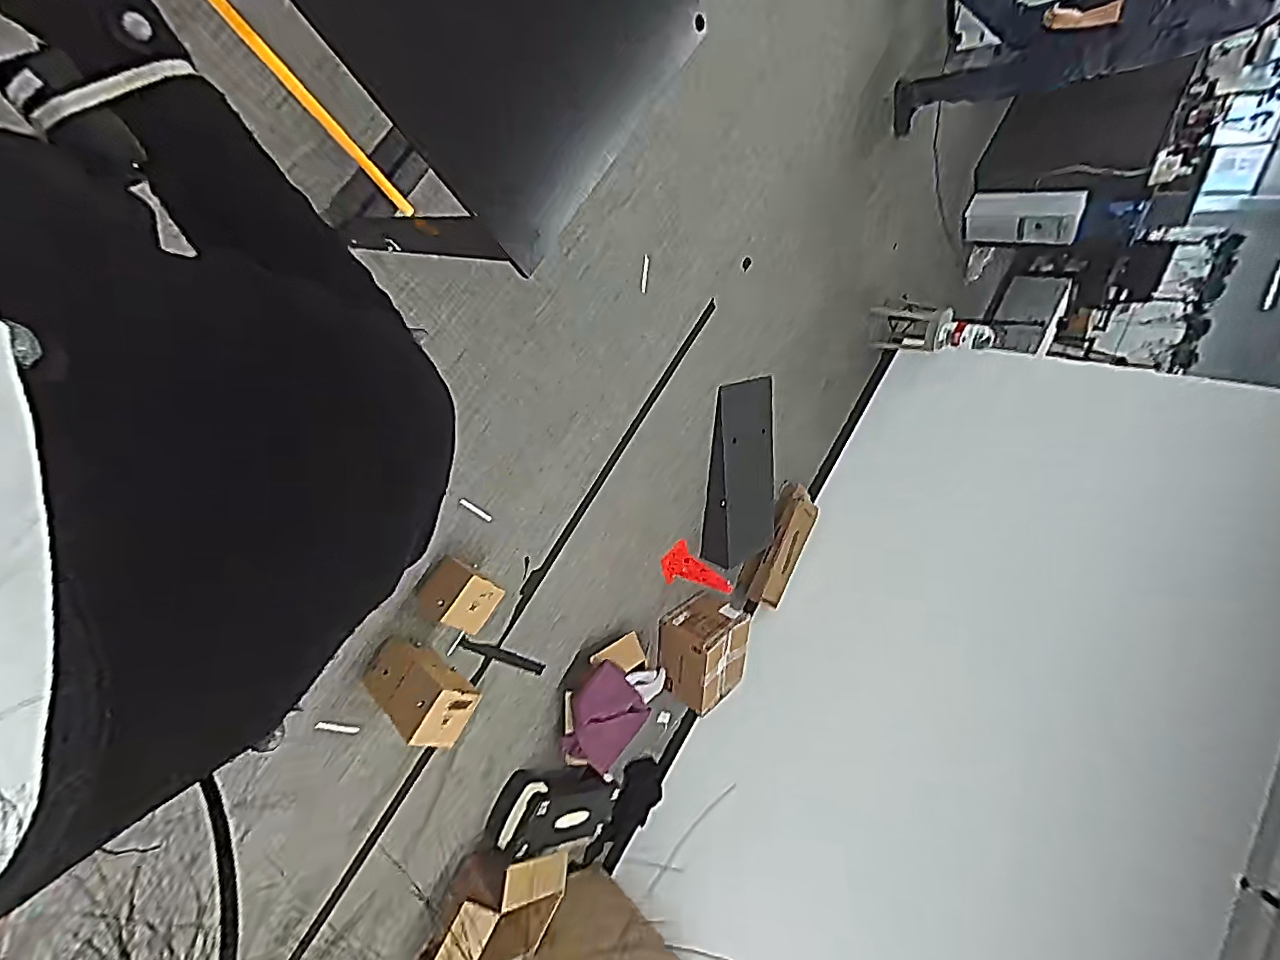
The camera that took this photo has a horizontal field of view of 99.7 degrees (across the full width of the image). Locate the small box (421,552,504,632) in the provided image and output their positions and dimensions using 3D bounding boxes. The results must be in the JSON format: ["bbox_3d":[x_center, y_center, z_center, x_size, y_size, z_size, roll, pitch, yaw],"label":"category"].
[{"bbox_3d":[-0.598,0.371,1.796,0.179,0.176,0.168,-57,141,-13],"label":"small box"}]

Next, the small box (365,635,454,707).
[{"bbox_3d":[-0.749,0.624,1.749,0.168,0.176,0.179,-60,140,-9],"label":"small box"}]

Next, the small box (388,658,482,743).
[{"bbox_3d":[-0.628,0.668,1.645,0.179,0.176,0.168,-59,141,-9],"label":"small box"}]
